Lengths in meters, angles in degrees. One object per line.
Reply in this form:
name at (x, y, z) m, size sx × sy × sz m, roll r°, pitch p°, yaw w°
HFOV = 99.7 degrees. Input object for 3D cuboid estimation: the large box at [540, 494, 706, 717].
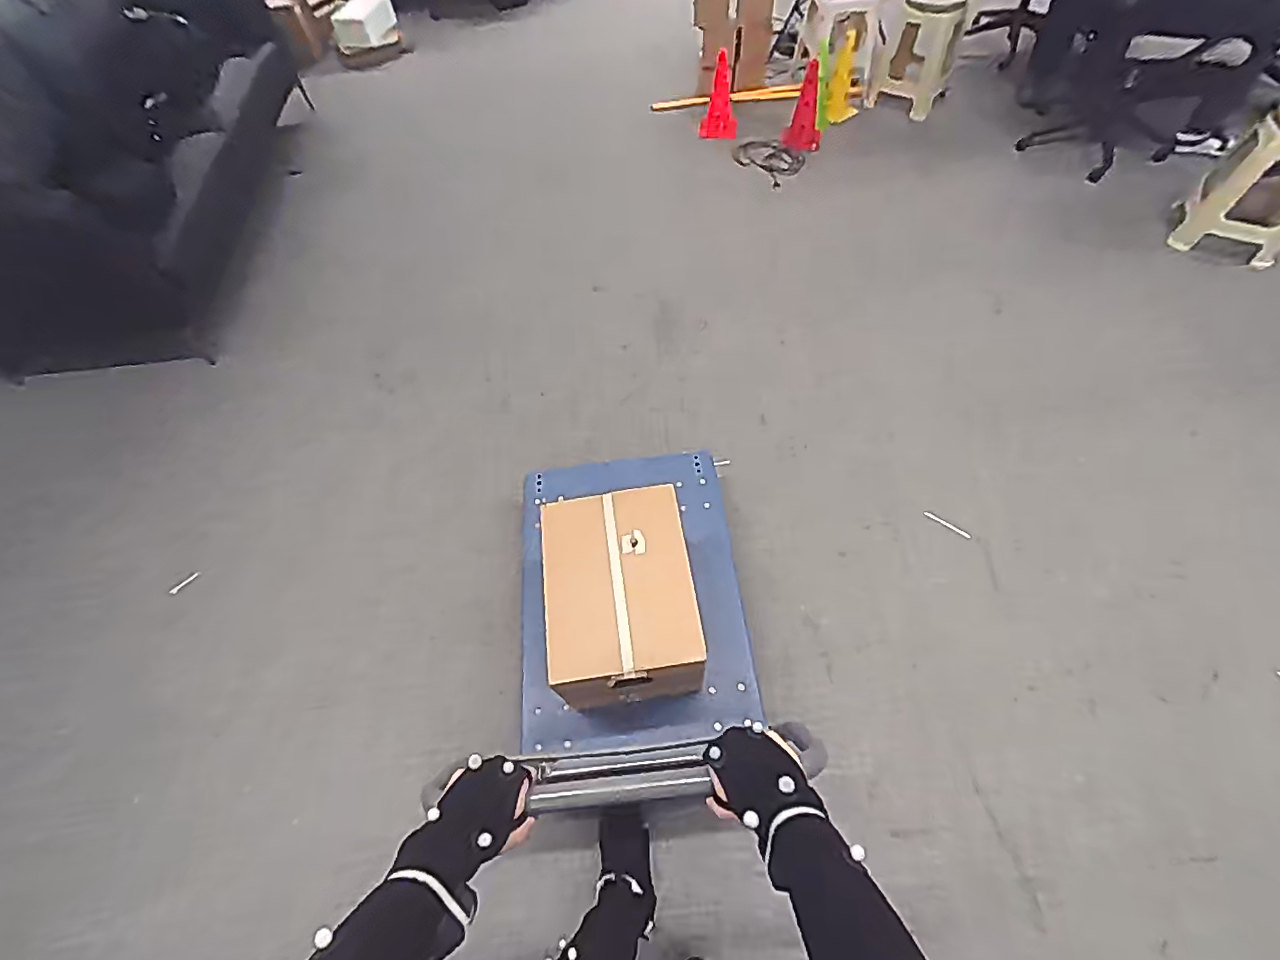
large box at (-0.037, 0.300, 1.274) m, size 0.320 × 0.320 × 0.408 m, roll -9°, pitch 58°, yaw -1°
